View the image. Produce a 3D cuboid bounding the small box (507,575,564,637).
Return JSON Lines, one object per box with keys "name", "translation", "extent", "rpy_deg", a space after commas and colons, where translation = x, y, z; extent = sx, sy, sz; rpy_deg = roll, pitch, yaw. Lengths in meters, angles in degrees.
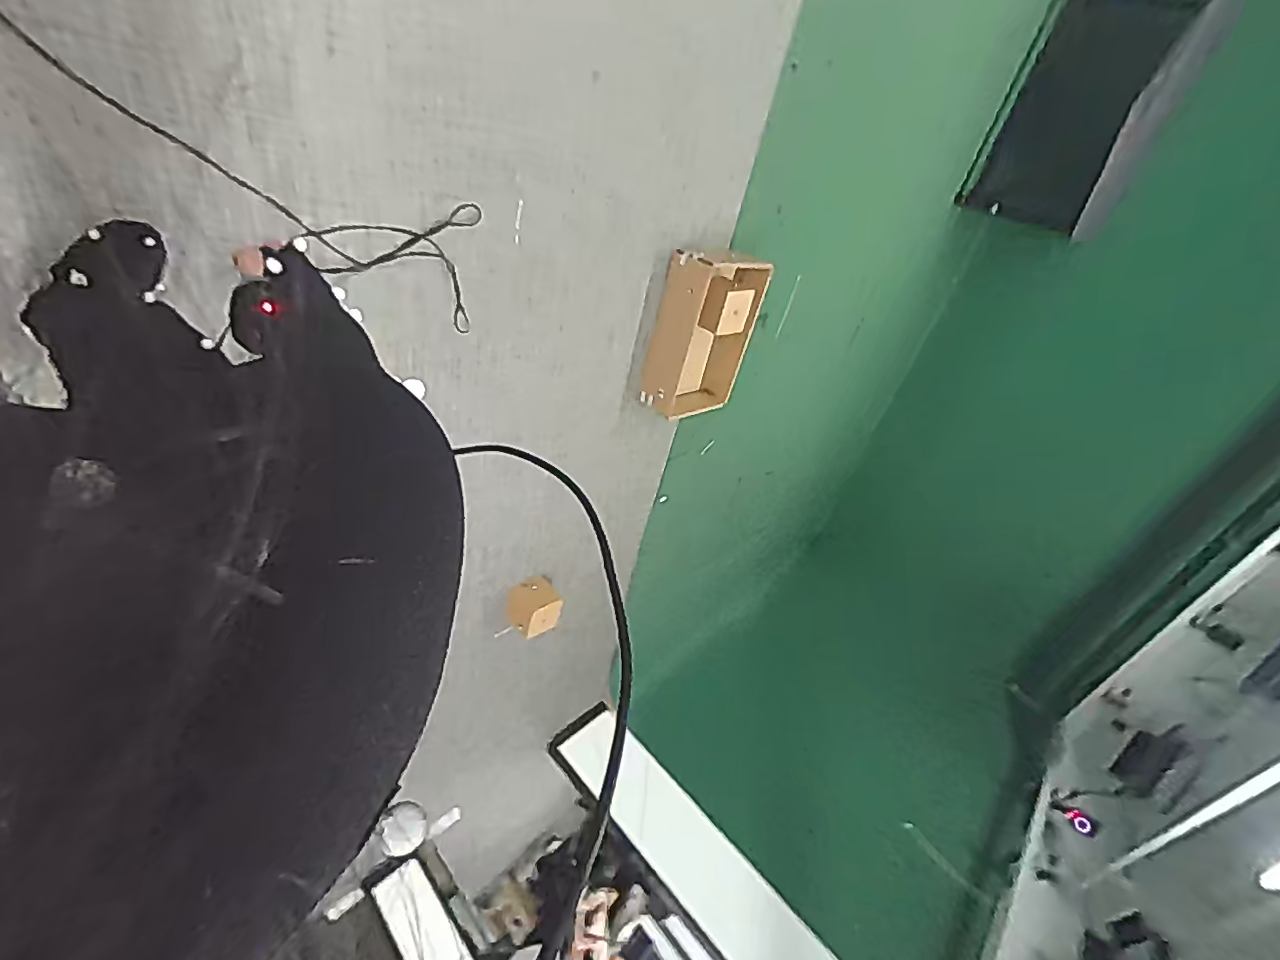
{"name": "small box", "translation": [-0.469, 0.554, 2.398], "extent": [0.168, 0.176, 0.179], "rpy_deg": [-17, 134, -46]}
